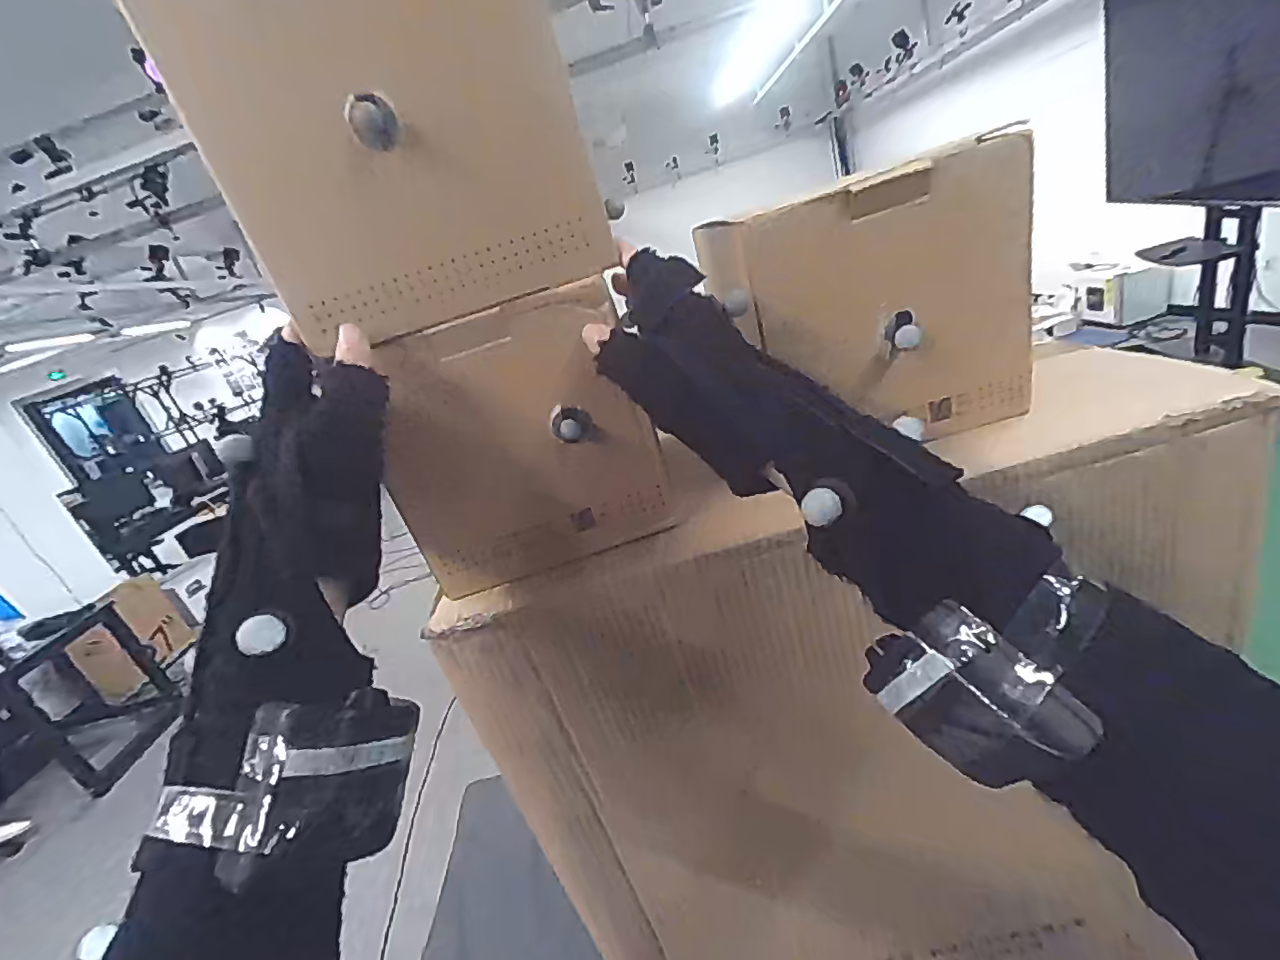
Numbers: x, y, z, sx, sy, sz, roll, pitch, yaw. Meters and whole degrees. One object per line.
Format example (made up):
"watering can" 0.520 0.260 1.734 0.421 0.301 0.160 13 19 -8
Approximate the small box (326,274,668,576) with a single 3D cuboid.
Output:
"small box" -0.084 -0.046 0.406 0.168 0.176 0.179 -17 23 1

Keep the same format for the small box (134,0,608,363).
"small box" -0.126 -0.187 0.334 0.179 0.176 0.168 -19 25 -6

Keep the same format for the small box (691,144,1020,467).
"small box" 0.147 -0.123 0.406 0.168 0.176 0.179 -15 25 3
